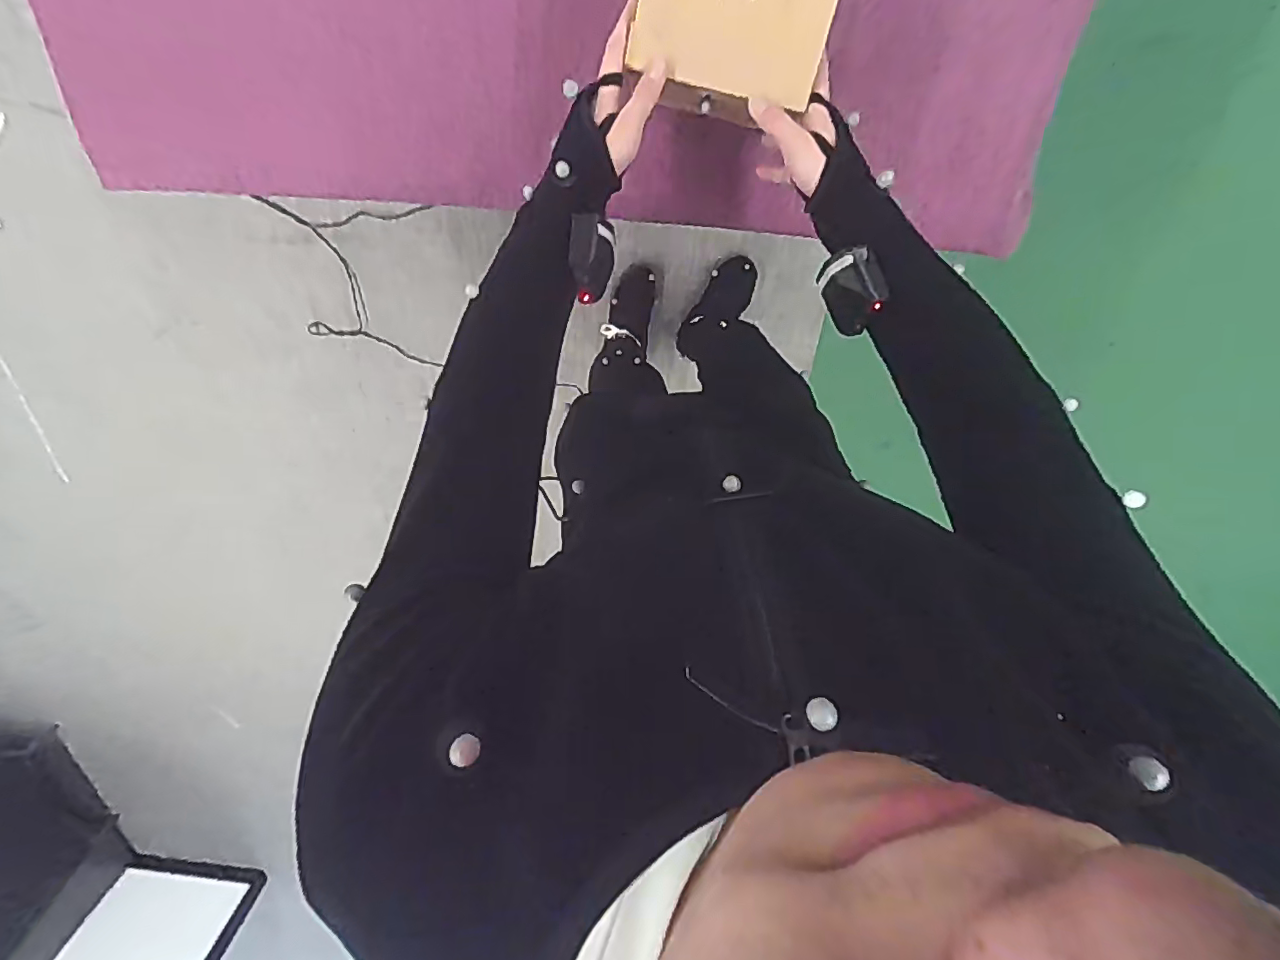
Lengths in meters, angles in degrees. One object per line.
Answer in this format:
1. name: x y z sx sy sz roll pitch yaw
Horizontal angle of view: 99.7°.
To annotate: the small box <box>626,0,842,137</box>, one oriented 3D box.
1. small box: 0.091 -0.459 0.537 0.179 0.176 0.168 12 117 -5
